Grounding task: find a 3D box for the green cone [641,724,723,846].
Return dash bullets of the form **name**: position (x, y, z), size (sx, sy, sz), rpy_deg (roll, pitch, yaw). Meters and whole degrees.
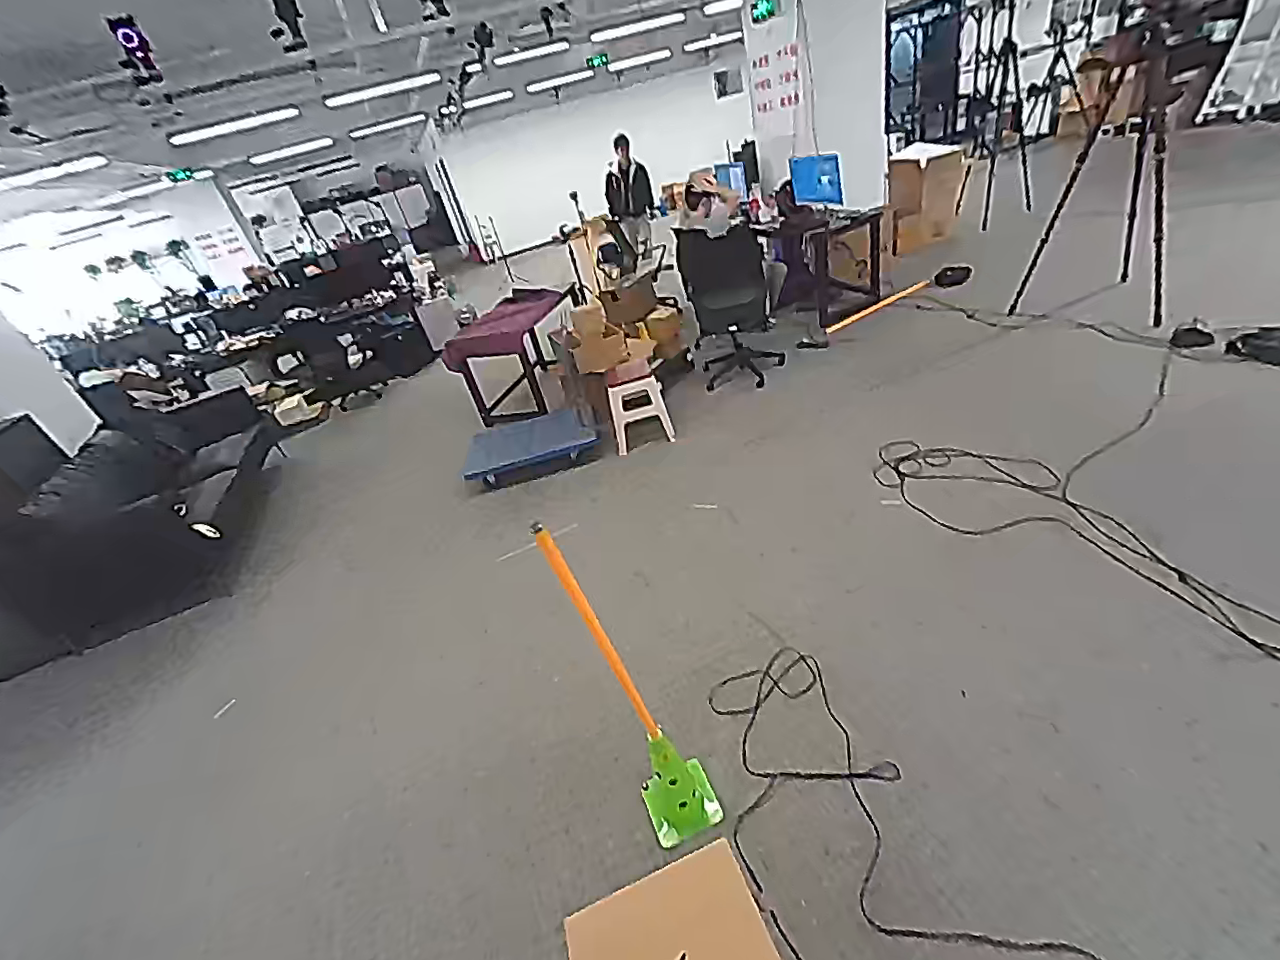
- **green cone**: position (0.084, 0.809, 1.508), size (0.202, 0.368, 0.200), rpy_deg (-21, 33, -11)
